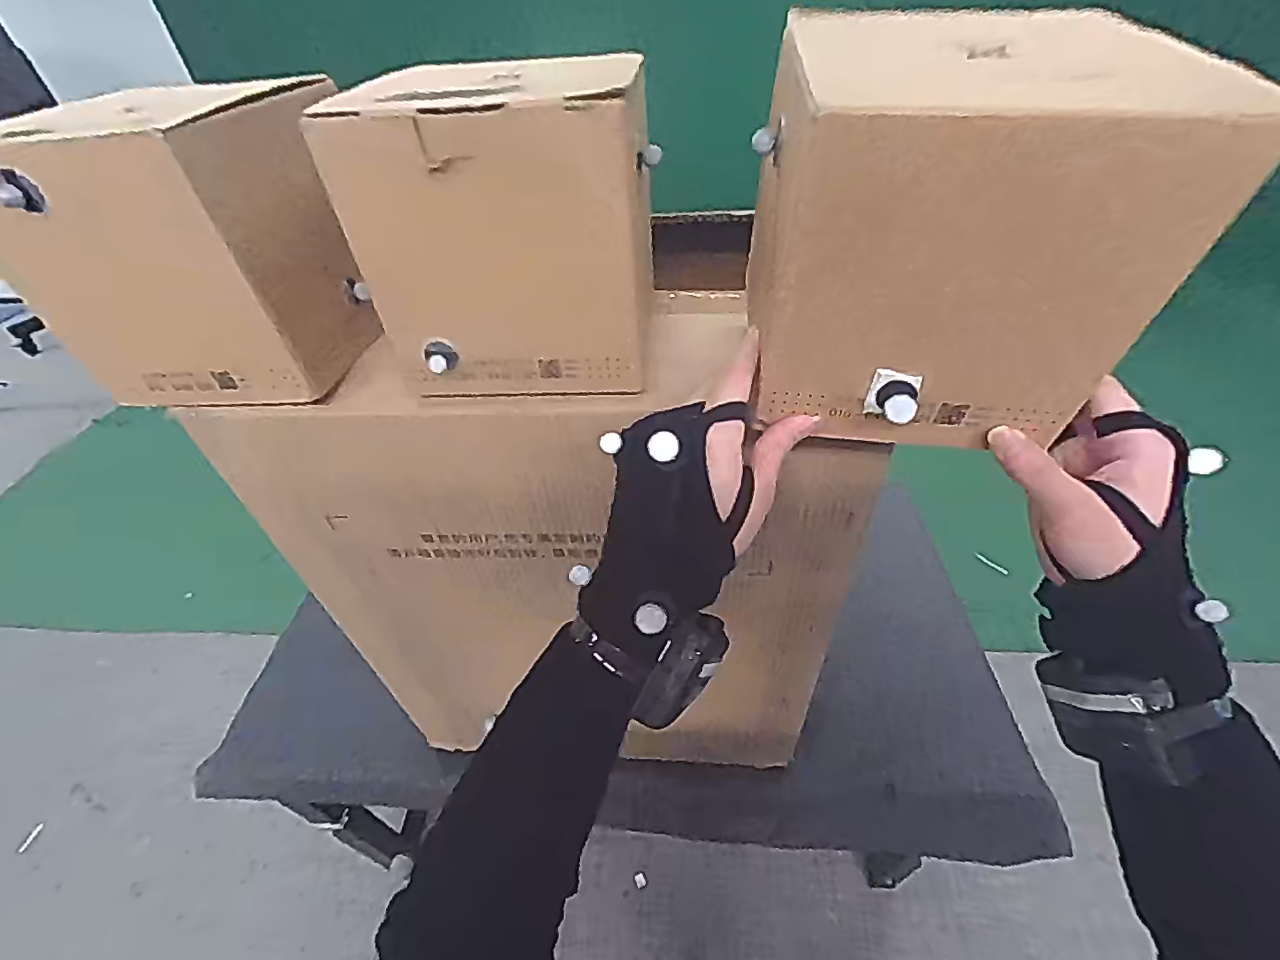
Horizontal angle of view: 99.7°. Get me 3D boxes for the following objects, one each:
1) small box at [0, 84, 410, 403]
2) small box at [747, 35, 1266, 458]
[{"bbox_3d":[-0.298,-0.174,0.401,0.168,0.176,0.179,0,43,9],"label":"small box"},{"bbox_3d":[0.155,-0.136,0.315,0.168,0.176,0.179,4,49,6],"label":"small box"}]
